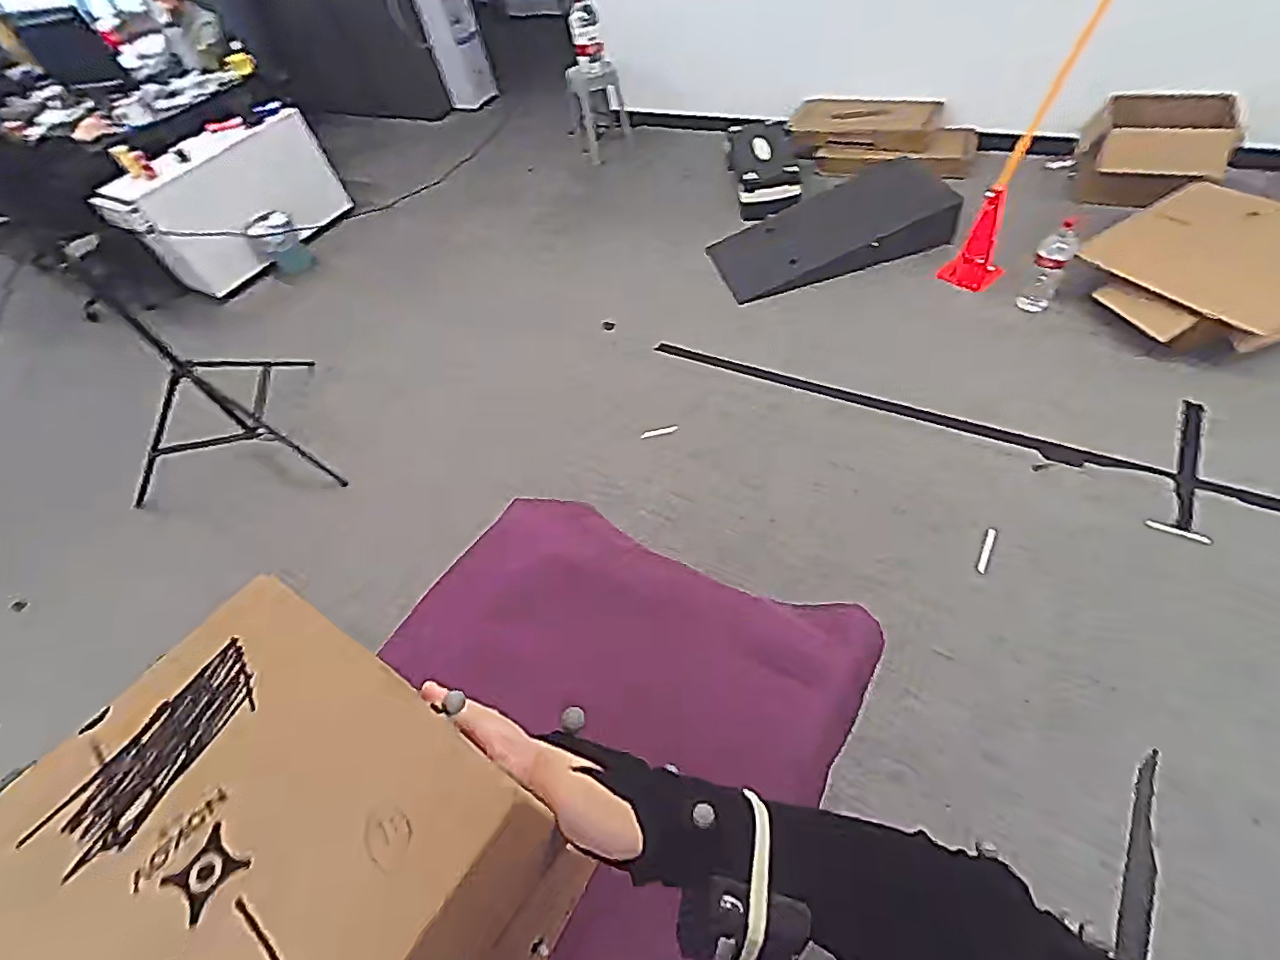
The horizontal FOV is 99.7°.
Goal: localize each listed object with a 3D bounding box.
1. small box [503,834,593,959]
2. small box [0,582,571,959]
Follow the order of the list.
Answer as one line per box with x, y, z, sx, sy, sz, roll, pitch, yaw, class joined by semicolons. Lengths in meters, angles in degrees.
-0.172;0.428;0.572;0.179;0.176;0.168;21;60;25;small box
-0.155;0.189;0.265;0.179;0.176;0.168;29;60;20;small box
